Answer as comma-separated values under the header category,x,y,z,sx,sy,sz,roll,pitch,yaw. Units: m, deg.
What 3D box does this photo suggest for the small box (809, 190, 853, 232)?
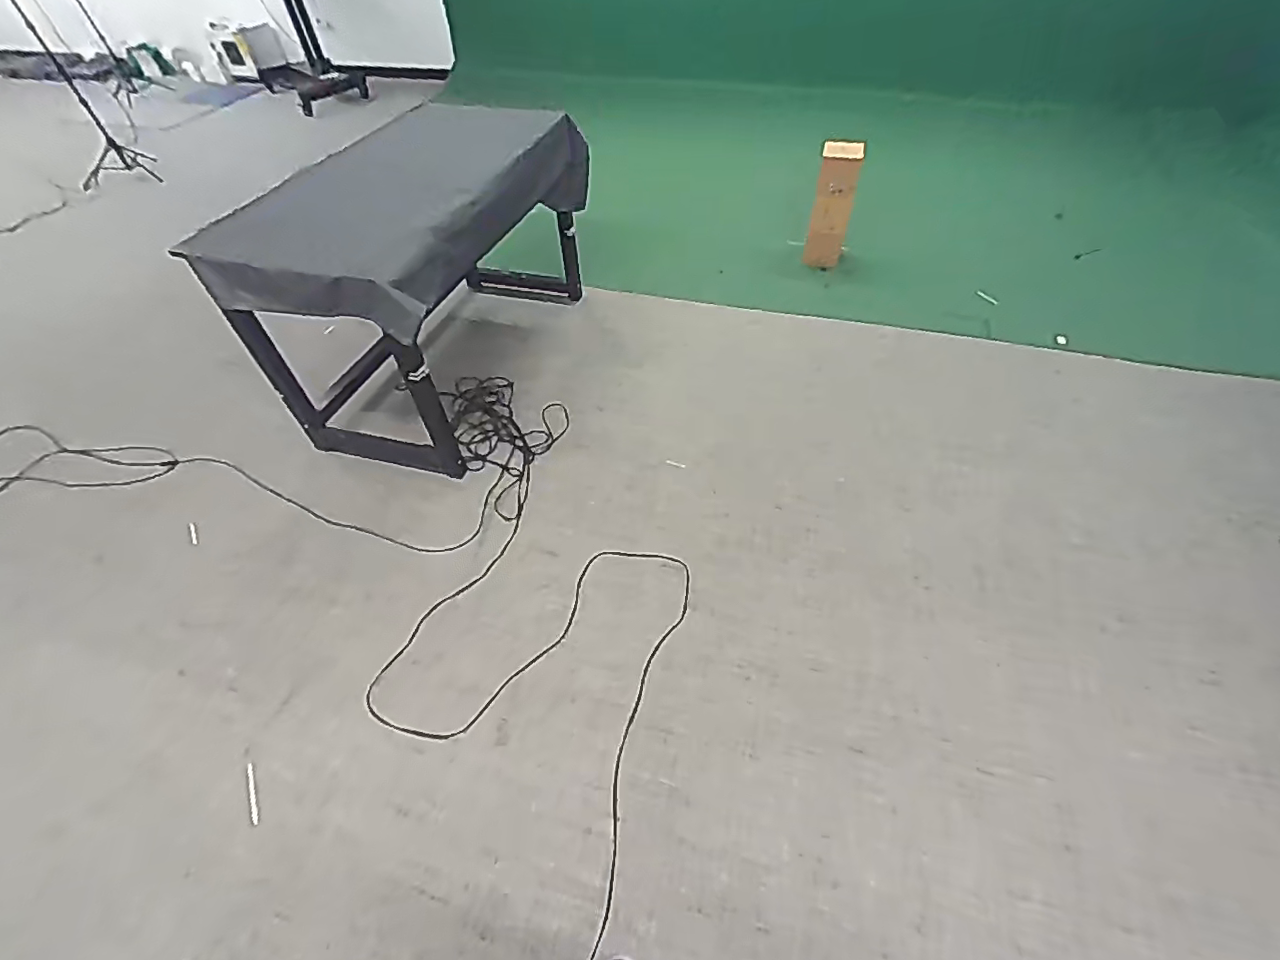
category,x,y,z,sx,sy,sz,roll,pitch,yaw
small box,0.882,-1.265,2.485,0.168,0.176,0.179,13,51,13

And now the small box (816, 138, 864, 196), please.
category,x,y,z,sx,sy,sz,roll,pitch,yaw
small box,0.870,-1.366,2.358,0.168,0.176,0.179,10,52,13
